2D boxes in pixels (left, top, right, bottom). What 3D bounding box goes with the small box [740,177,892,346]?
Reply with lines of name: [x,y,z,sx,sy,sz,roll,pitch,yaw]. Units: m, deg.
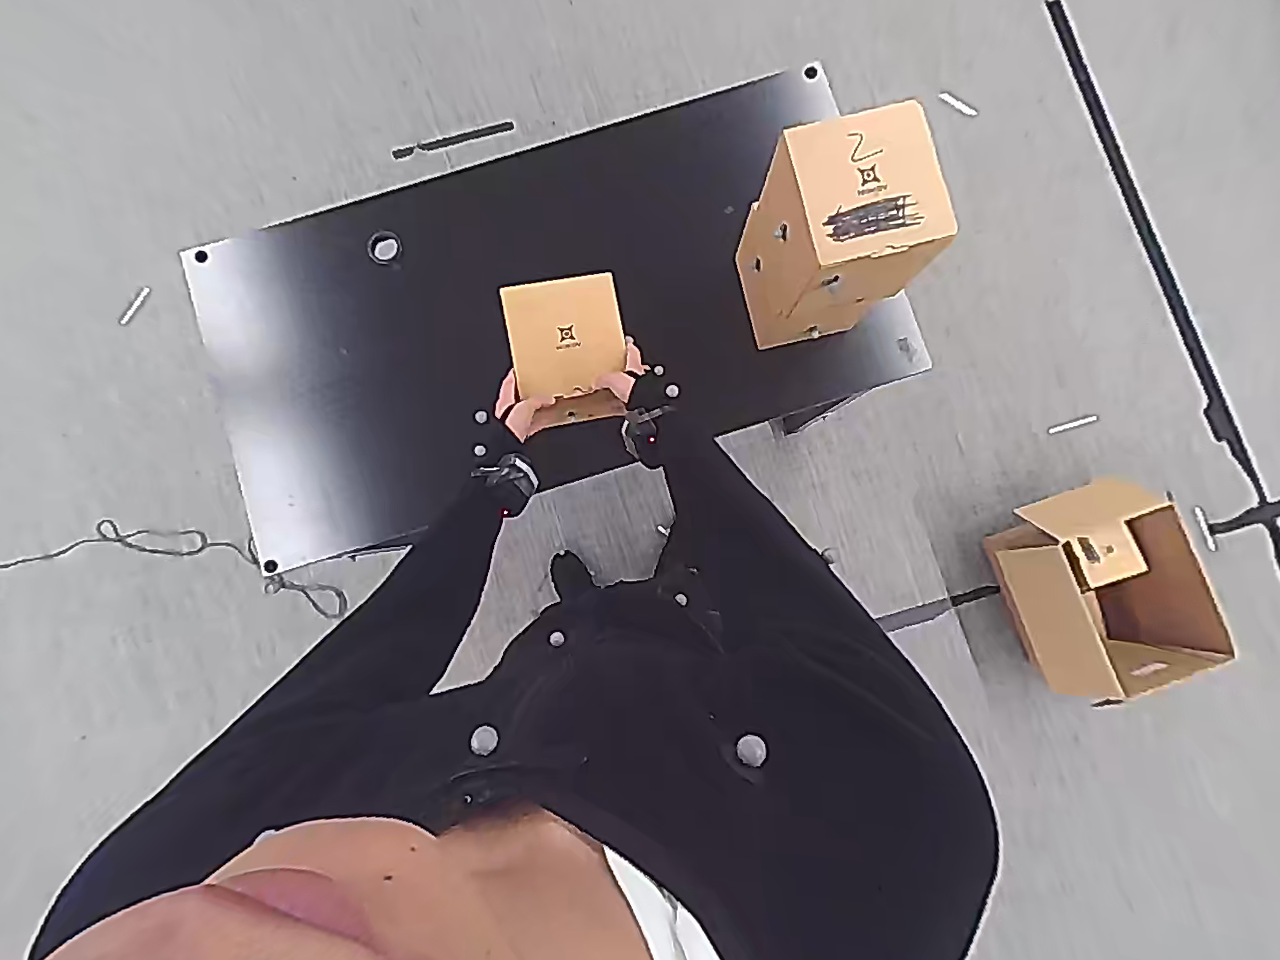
small box: [0.266,-0.336,0.860,0.168,0.176,0.179,-13,86,1]

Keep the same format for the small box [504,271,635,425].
small box: [-0.111,-0.198,0.846,0.168,0.176,0.179,-10,85,-7]
